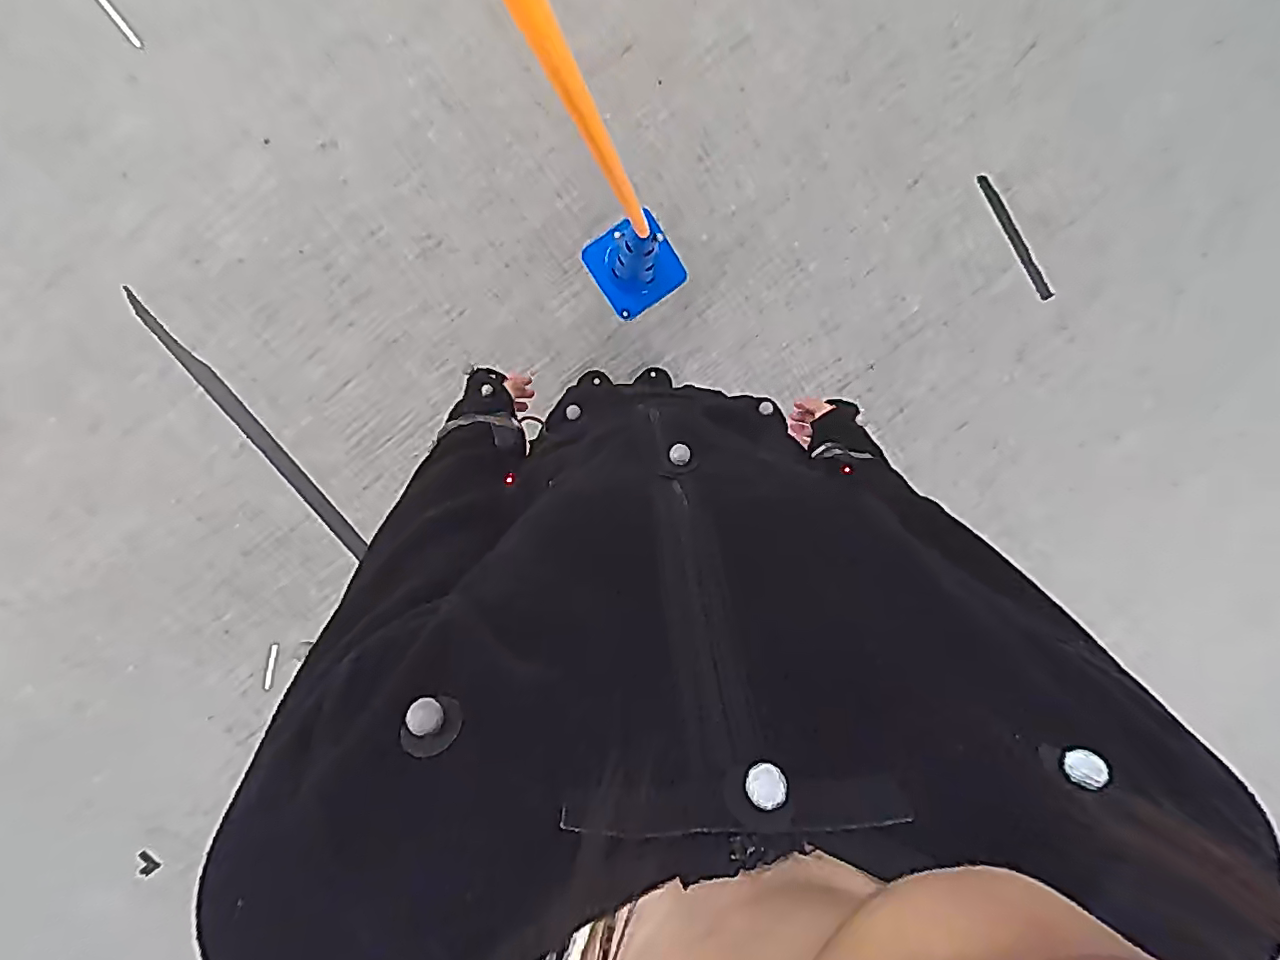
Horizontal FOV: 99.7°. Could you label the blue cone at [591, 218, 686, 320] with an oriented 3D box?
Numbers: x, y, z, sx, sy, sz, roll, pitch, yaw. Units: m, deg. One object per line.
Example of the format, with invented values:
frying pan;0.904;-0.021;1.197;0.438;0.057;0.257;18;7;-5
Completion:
blue cone;0.006;-0.480;1.156;0.193;0.380;0.192;-32;103;4
